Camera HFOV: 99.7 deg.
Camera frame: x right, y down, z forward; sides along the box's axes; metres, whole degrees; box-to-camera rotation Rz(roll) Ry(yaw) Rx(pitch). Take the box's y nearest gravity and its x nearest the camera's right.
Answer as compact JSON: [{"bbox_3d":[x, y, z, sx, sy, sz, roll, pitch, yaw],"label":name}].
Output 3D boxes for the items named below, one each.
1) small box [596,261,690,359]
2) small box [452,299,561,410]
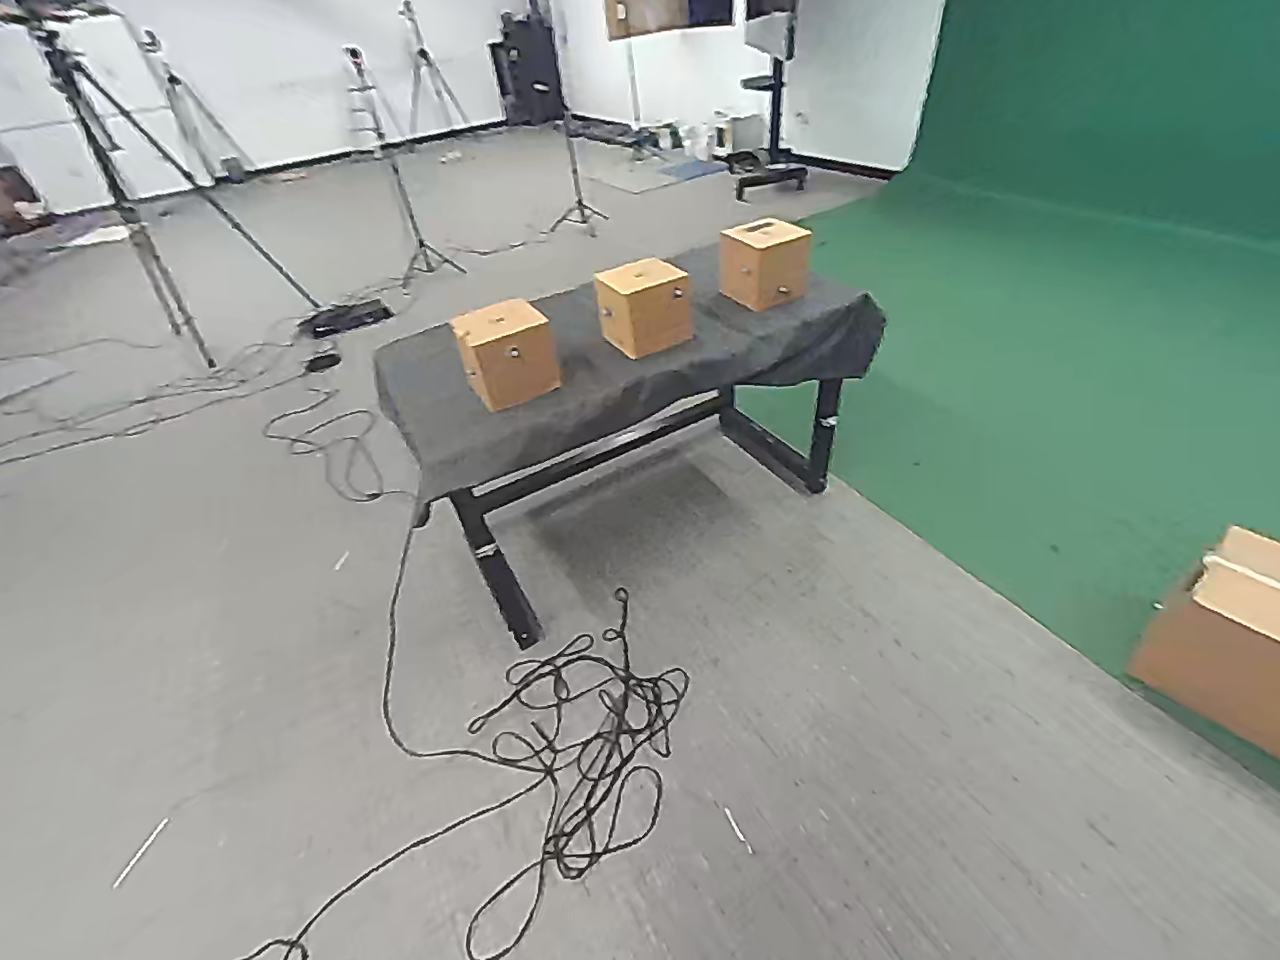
[{"bbox_3d":[0.013,-0.418,1.336,0.179,0.176,0.168,-23,43,-19],"label":"small box"},{"bbox_3d":[-0.297,-0.282,1.220,0.179,0.176,0.168,-24,45,-20],"label":"small box"}]
